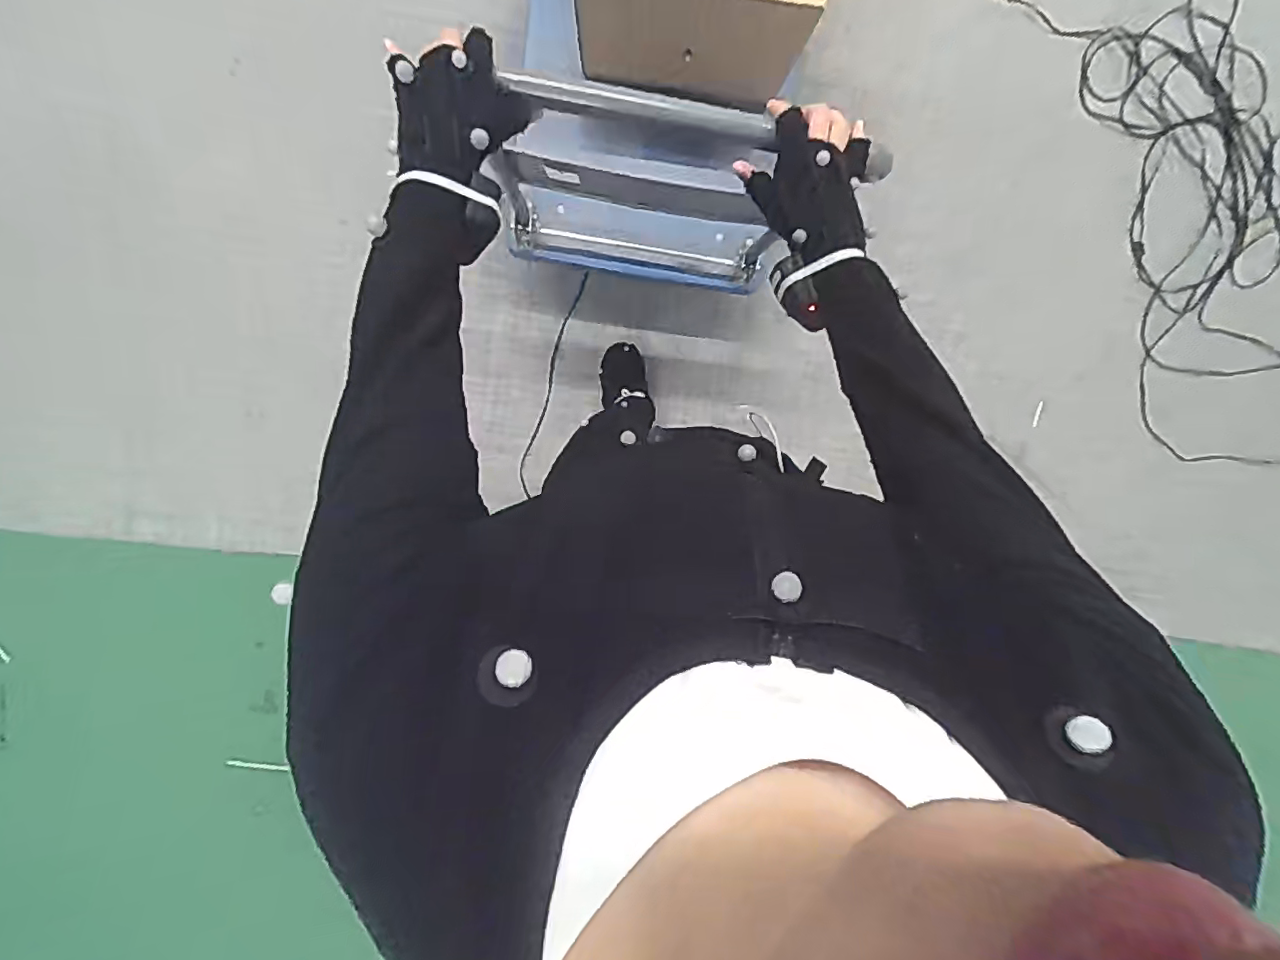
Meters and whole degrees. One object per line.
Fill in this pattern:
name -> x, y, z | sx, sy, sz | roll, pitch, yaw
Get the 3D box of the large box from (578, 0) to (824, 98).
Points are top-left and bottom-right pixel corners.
large box -> 0.106, -0.946, 0.972 | 0.408, 0.320, 0.320 | 5, 99, -3
